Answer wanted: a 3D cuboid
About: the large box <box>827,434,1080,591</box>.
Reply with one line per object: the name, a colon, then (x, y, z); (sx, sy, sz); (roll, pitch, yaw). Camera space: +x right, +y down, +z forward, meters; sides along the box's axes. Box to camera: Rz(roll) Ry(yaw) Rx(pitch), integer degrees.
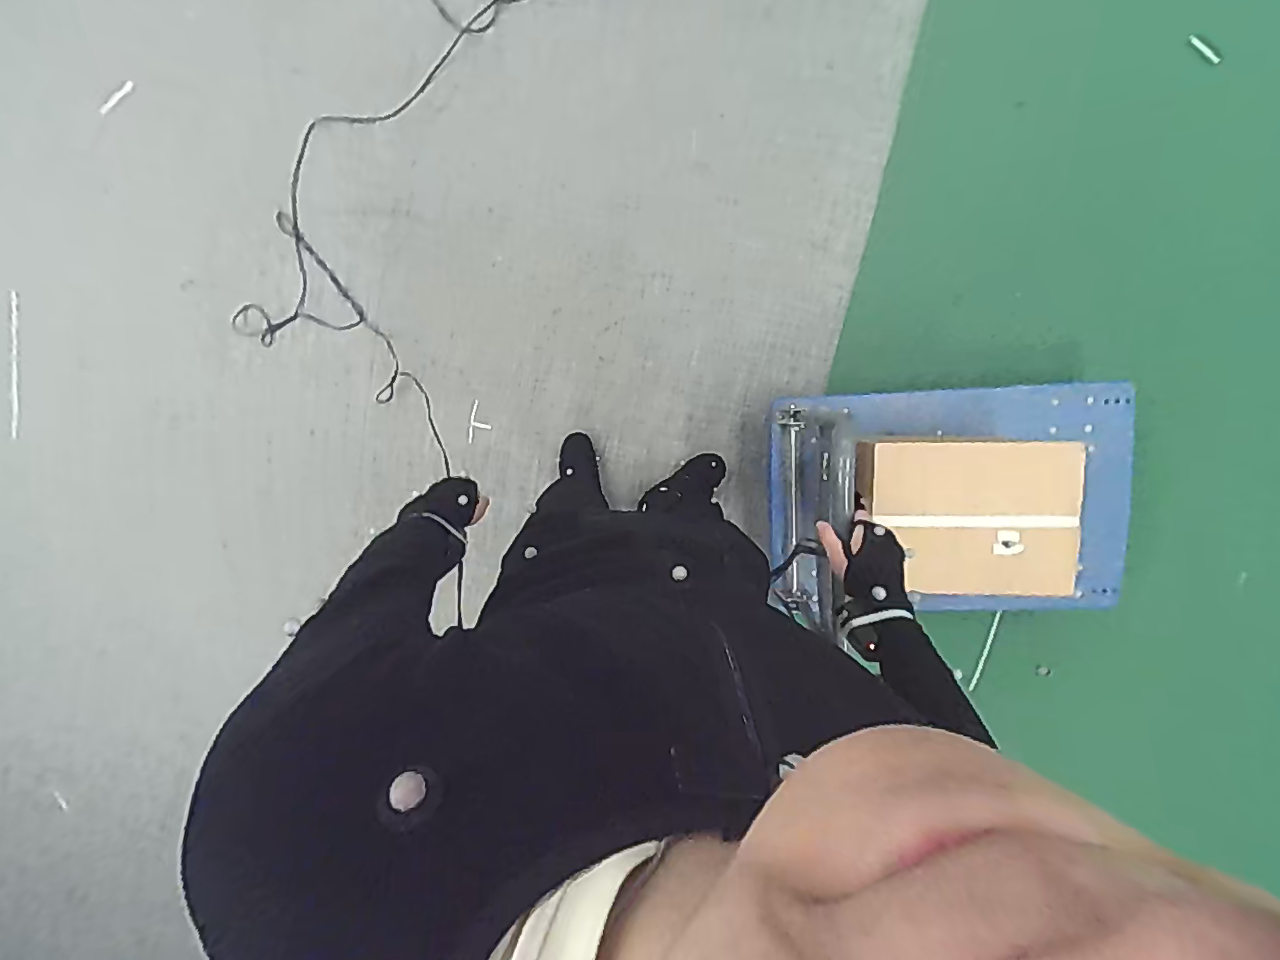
large box: (0.669, 0.055, 1.229); (0.408, 0.320, 0.320); (0, 98, 3)
